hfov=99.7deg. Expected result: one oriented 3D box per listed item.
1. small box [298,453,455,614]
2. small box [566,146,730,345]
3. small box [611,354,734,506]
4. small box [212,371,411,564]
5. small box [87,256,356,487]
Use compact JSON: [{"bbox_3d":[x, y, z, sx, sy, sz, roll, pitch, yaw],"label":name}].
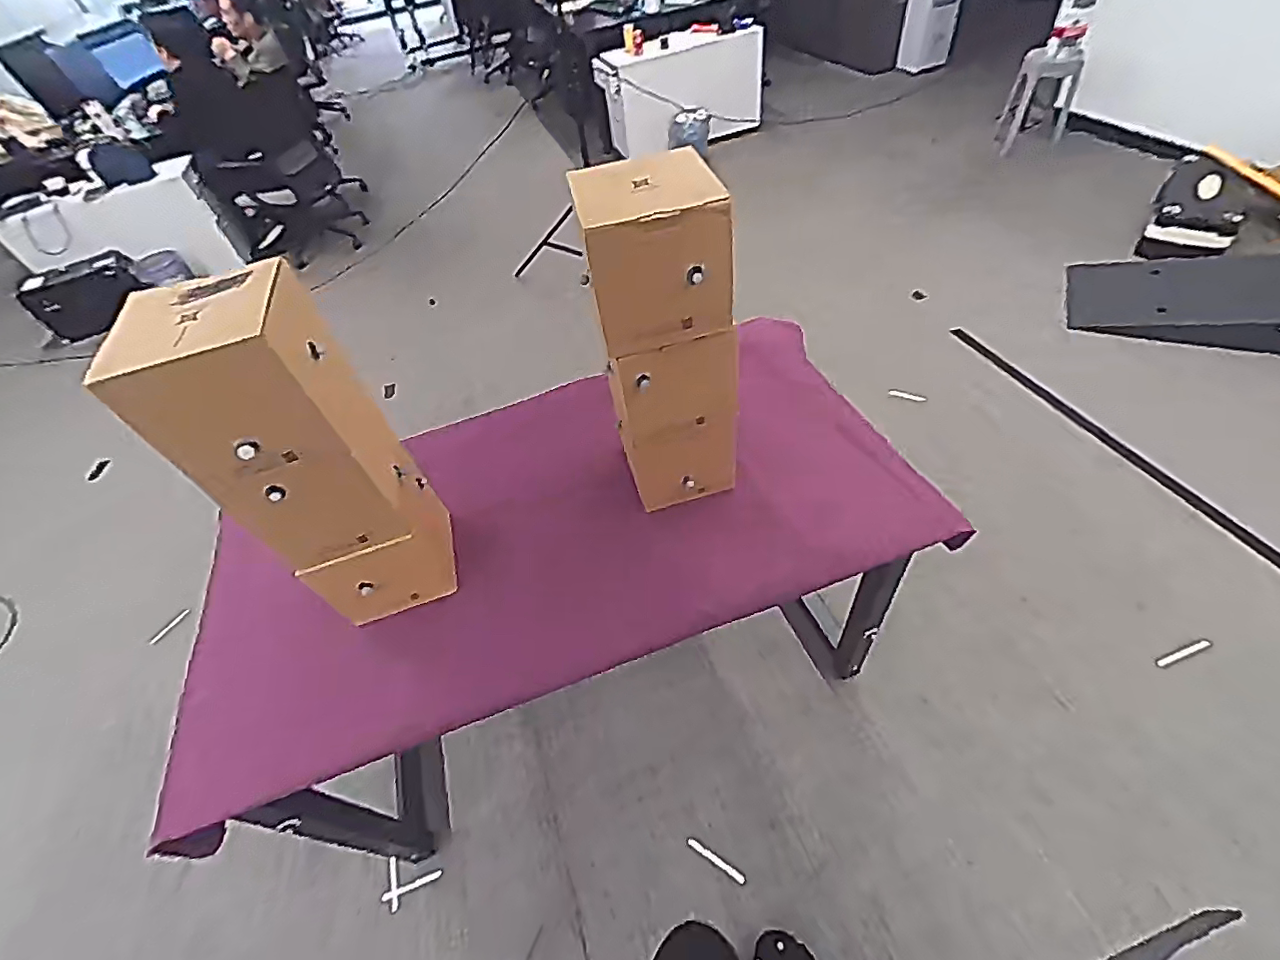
[{"bbox_3d":[-0.410,0.093,0.866,0.168,0.176,0.179,-19,49,-6],"label":"small box"},{"bbox_3d":[0.012,-0.289,0.685,0.168,0.176,0.179,-13,48,-3],"label":"small box"},{"bbox_3d":[0.056,-0.084,0.936,0.168,0.176,0.179,-16,49,-3],"label":"small box"},{"bbox_3d":[-0.433,-0.017,0.746,0.168,0.176,0.179,-19,49,-7],"label":"small box"},{"bbox_3d":[-0.450,-0.123,0.621,0.168,0.176,0.179,-19,50,-6],"label":"small box"}]
